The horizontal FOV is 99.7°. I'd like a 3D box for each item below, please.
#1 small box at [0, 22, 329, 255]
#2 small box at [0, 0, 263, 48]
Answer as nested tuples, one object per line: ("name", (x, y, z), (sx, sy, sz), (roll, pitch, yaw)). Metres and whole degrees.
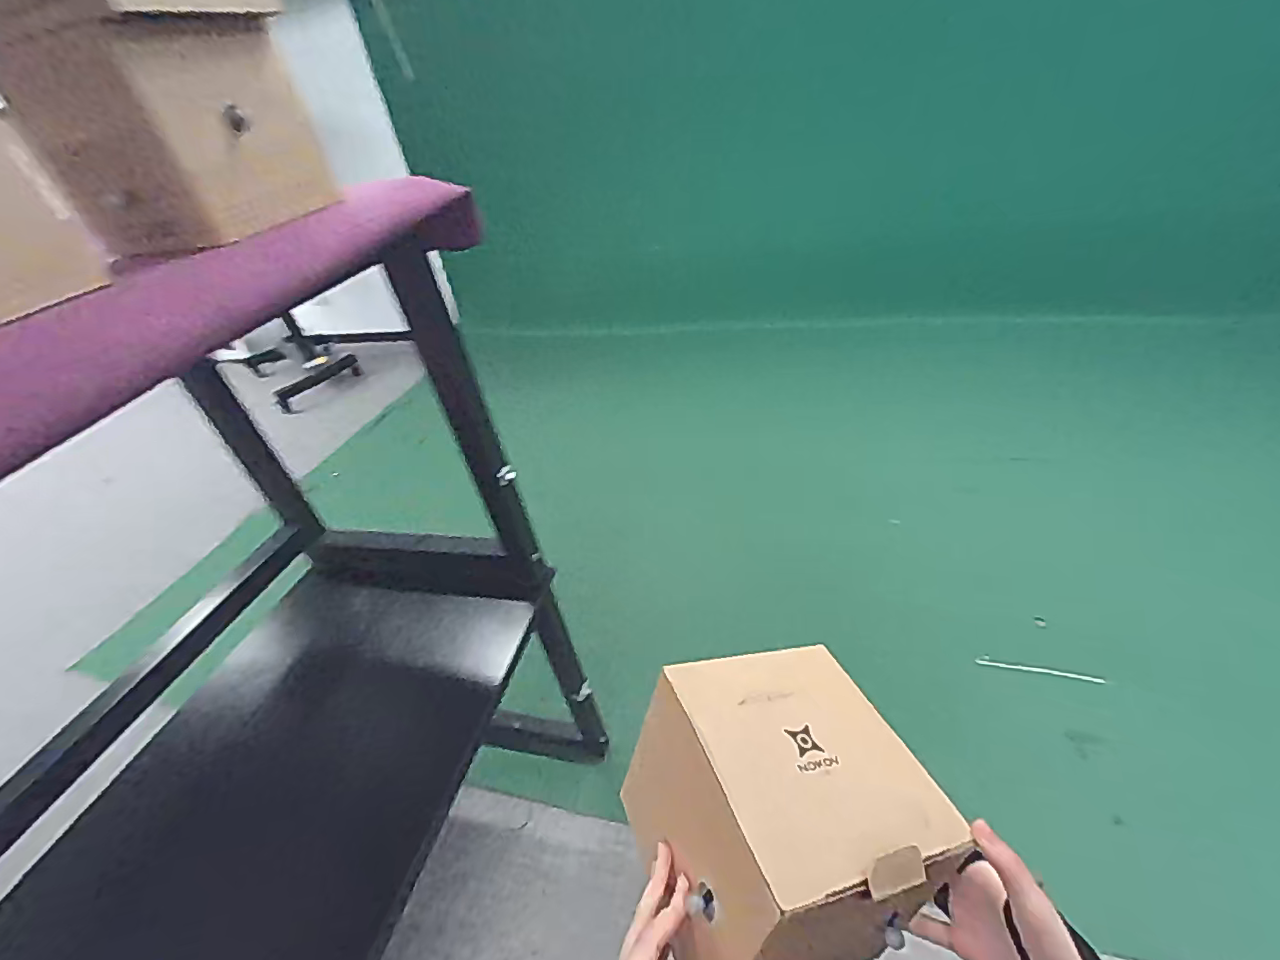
("small box", (-0.457, -0.341, 0.549), (0.168, 0.176, 0.179), (3, 40, 17))
("small box", (-0.460, -0.470, 0.445), (0.168, 0.176, 0.179), (2, 39, 17))
